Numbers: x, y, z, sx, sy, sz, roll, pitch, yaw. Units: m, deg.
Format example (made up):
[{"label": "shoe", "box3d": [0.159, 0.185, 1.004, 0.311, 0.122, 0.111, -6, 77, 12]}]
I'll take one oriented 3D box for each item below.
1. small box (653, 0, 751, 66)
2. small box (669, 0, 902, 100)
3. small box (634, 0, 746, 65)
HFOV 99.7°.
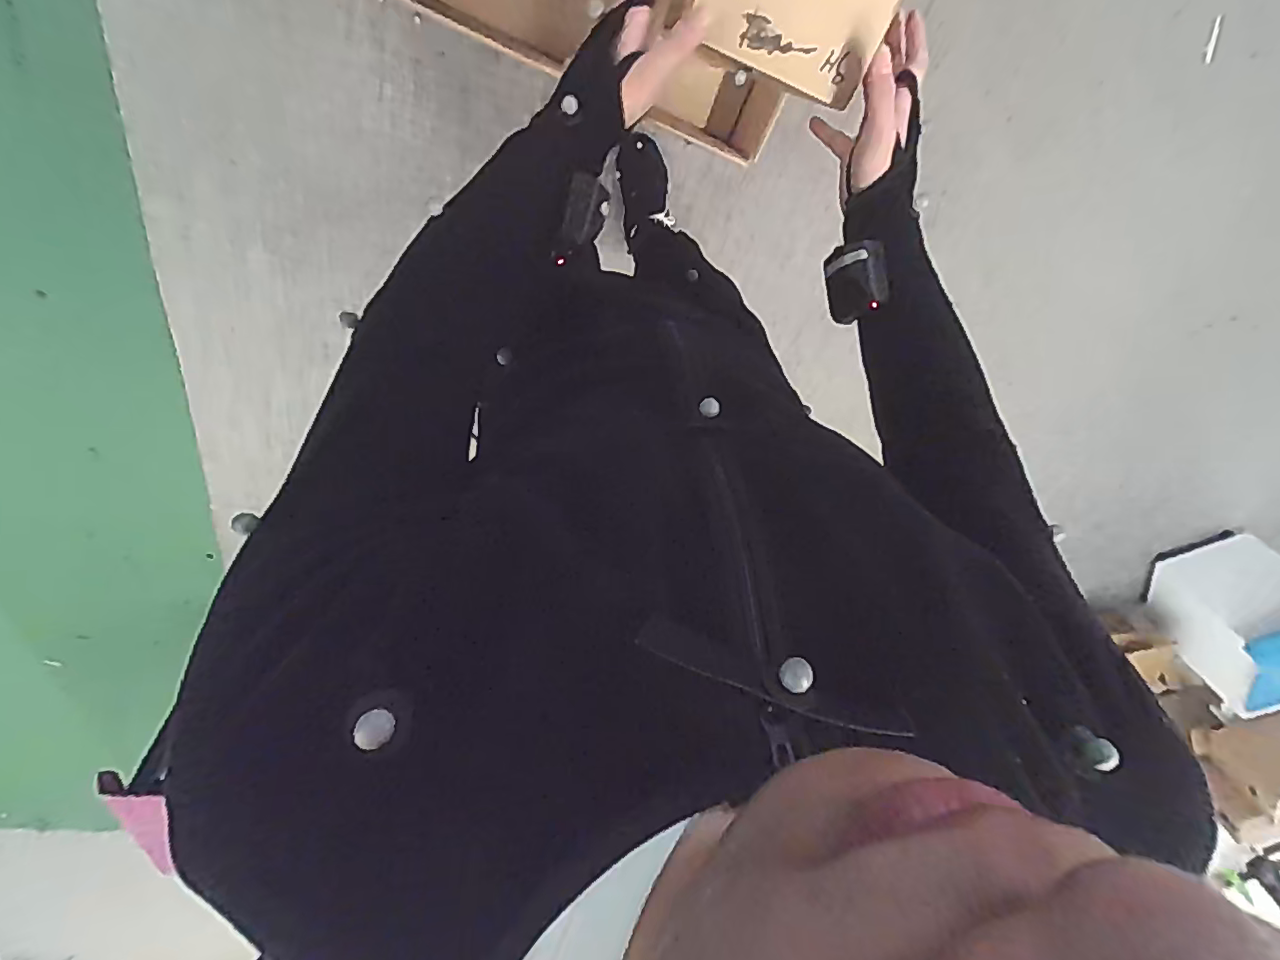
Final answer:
[{"label": "small box", "box3d": [0.120, -0.582, 0.594, 0.168, 0.176, 0.179, 11, 127, -17]}, {"label": "small box", "box3d": [0.135, -0.474, 0.473, 0.168, 0.176, 0.179, 12, 128, -17]}, {"label": "small box", "box3d": [0.098, -0.693, 0.713, 0.168, 0.176, 0.179, 15, 127, -20]}]
